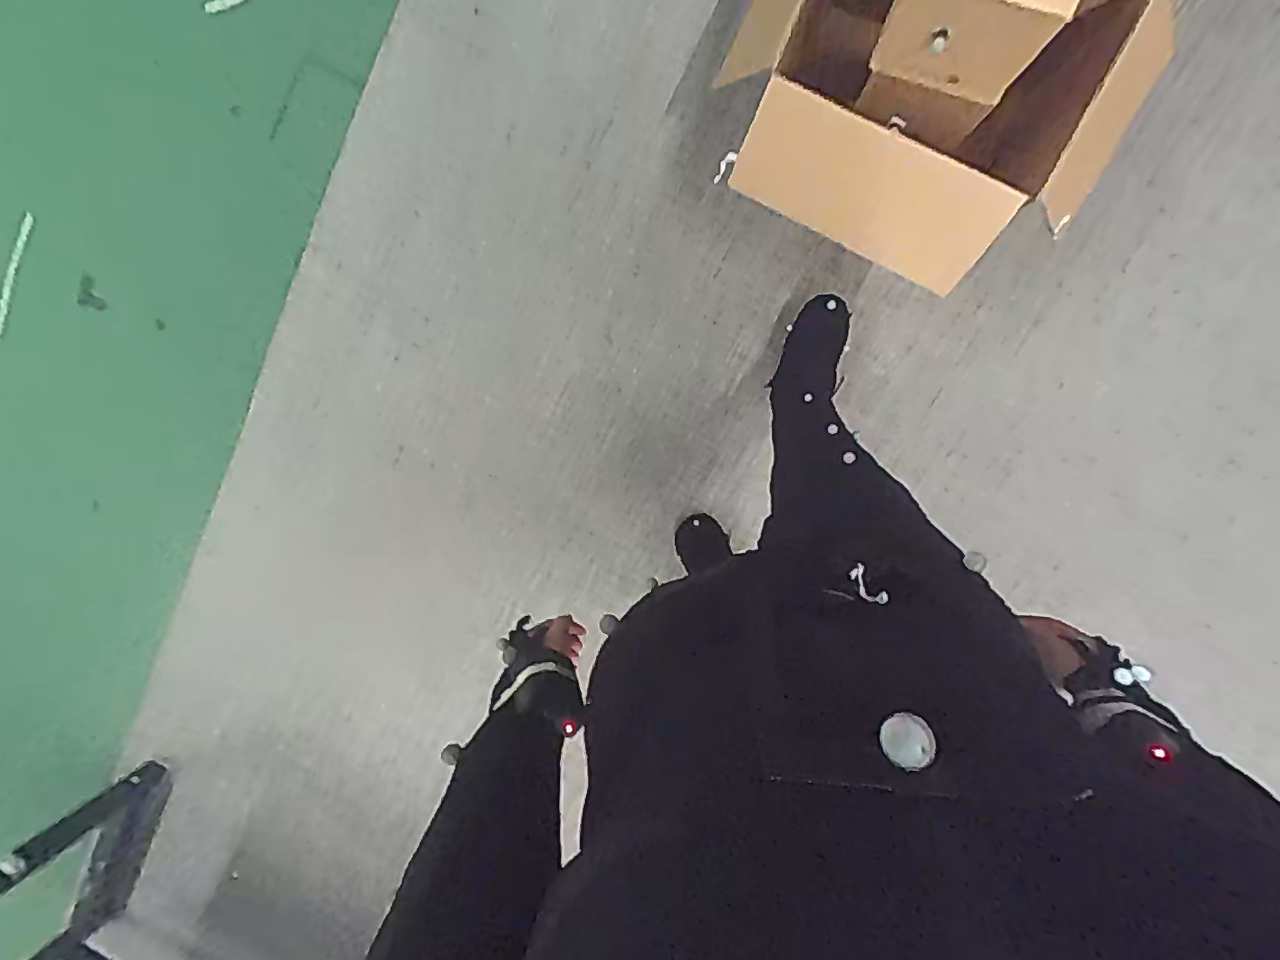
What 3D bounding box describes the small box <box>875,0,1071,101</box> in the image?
[{"bbox_3d":[0.390,-0.578,0.612,0.168,0.176,0.179,21,99,5],"label":"small box"}]
